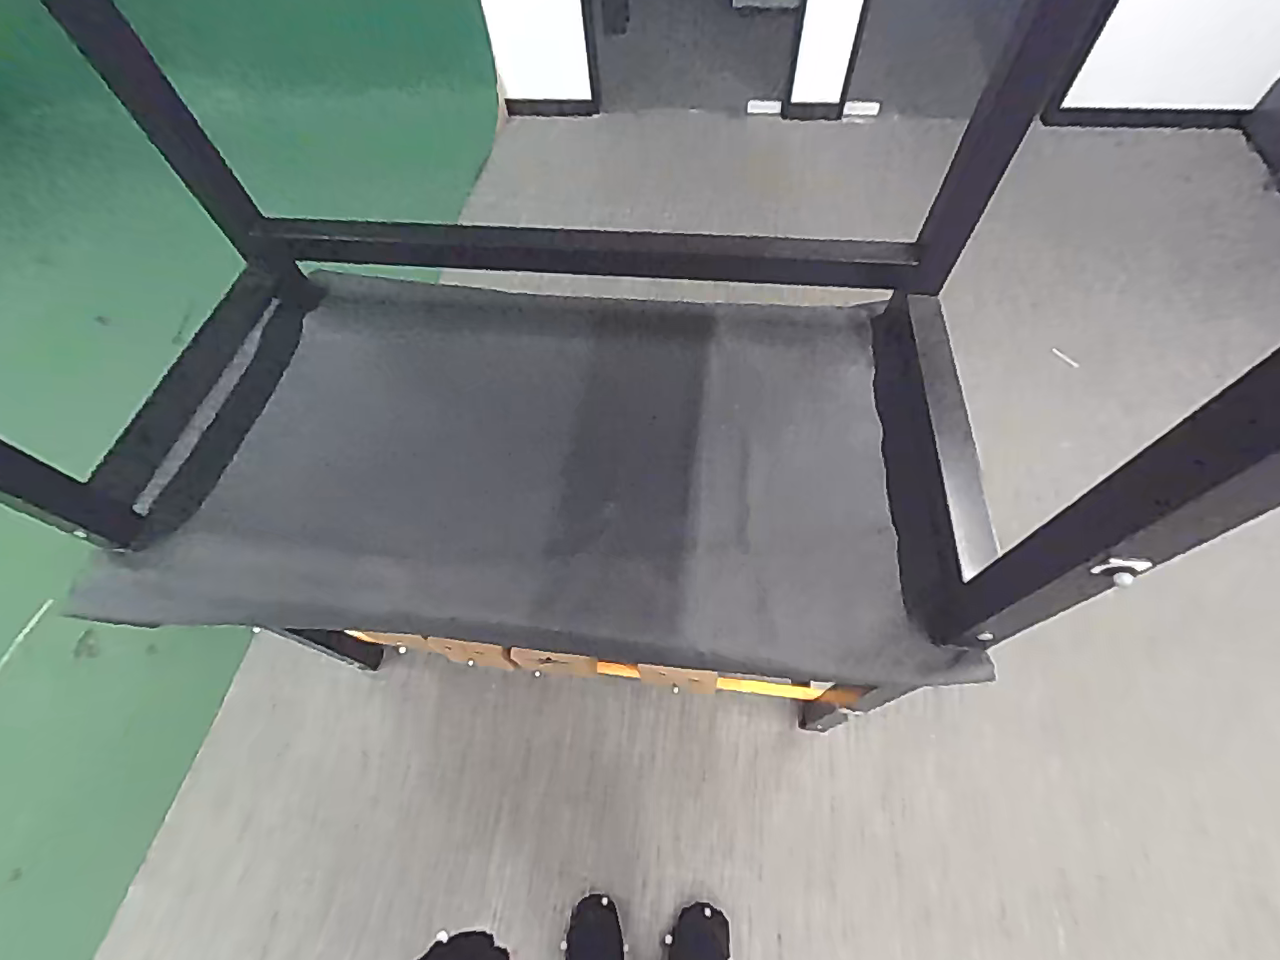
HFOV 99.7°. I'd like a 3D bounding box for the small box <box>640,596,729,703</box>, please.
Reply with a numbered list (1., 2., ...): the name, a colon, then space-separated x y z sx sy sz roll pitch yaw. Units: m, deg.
1. small box: 0.101 0.382 1.208 0.168 0.176 0.179 8 62 10
